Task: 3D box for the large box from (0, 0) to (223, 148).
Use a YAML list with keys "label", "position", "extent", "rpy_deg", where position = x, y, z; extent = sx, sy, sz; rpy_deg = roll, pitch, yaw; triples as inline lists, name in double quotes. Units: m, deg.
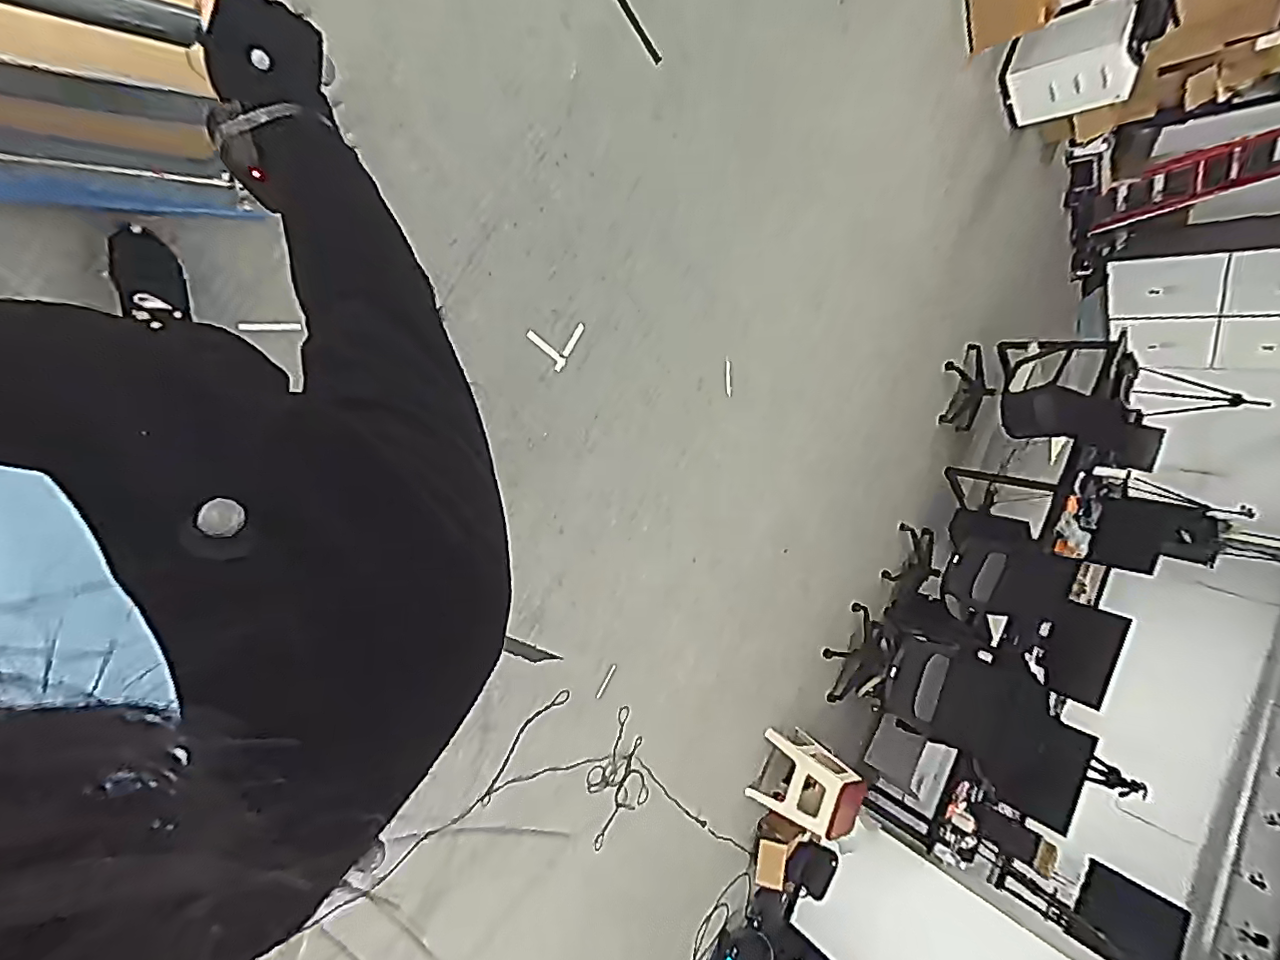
- label: "large box"
  position: [-0.830, -0.663, 0.686]
  extent: [0.408, 0.320, 0.320]
  rpy_deg: [-16, 112, -41]
